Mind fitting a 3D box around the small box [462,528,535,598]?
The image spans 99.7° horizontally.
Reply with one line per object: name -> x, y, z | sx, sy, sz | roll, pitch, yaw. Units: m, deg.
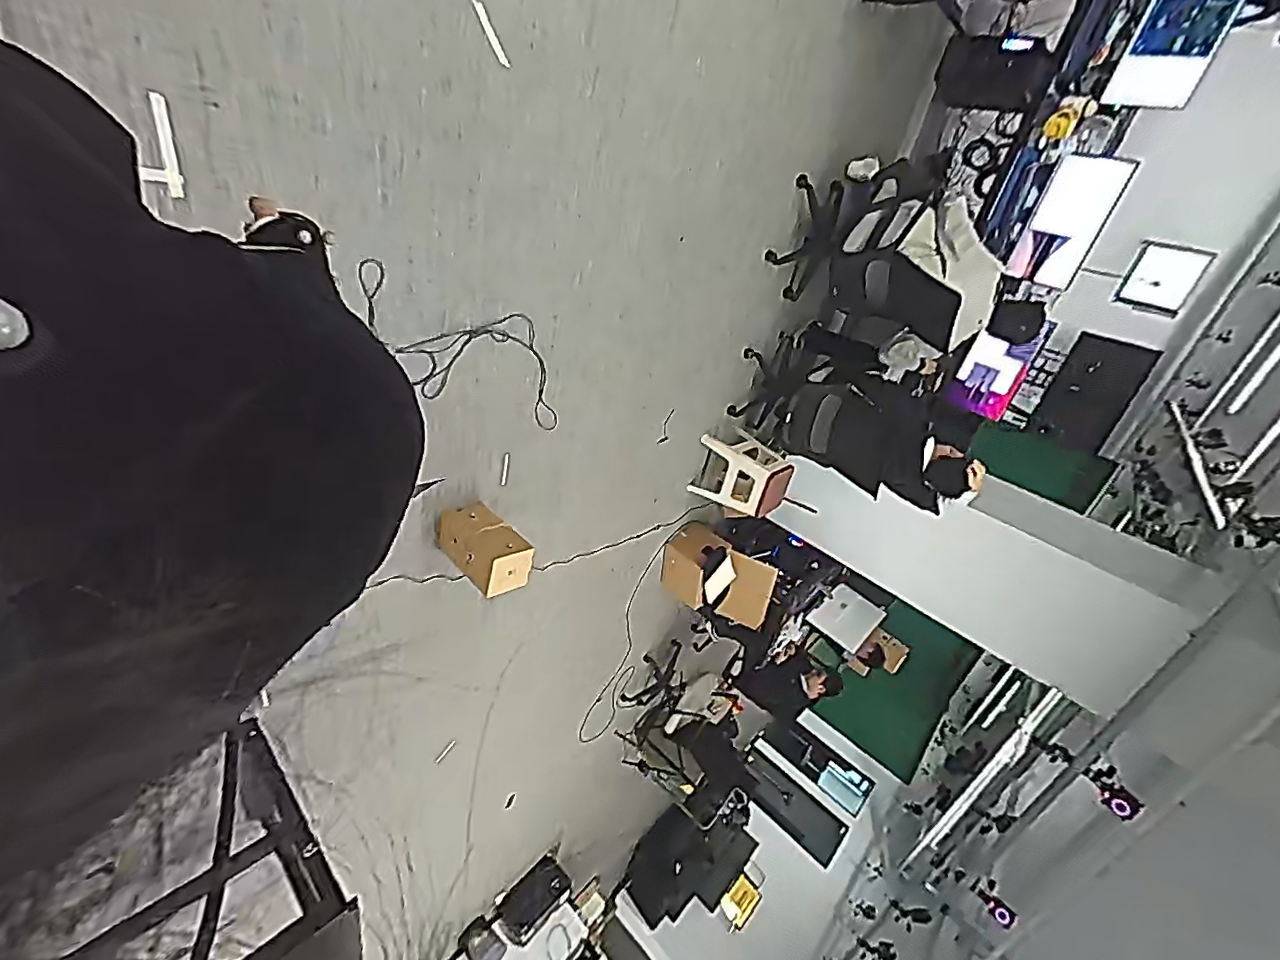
small box -> -0.511, 0.290, 1.942 | 0.179, 0.176, 0.168 | -12, 126, -48

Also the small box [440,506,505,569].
small box -> -0.630, 0.214, 2.024 | 0.168, 0.176, 0.179 | -18, 130, -46
